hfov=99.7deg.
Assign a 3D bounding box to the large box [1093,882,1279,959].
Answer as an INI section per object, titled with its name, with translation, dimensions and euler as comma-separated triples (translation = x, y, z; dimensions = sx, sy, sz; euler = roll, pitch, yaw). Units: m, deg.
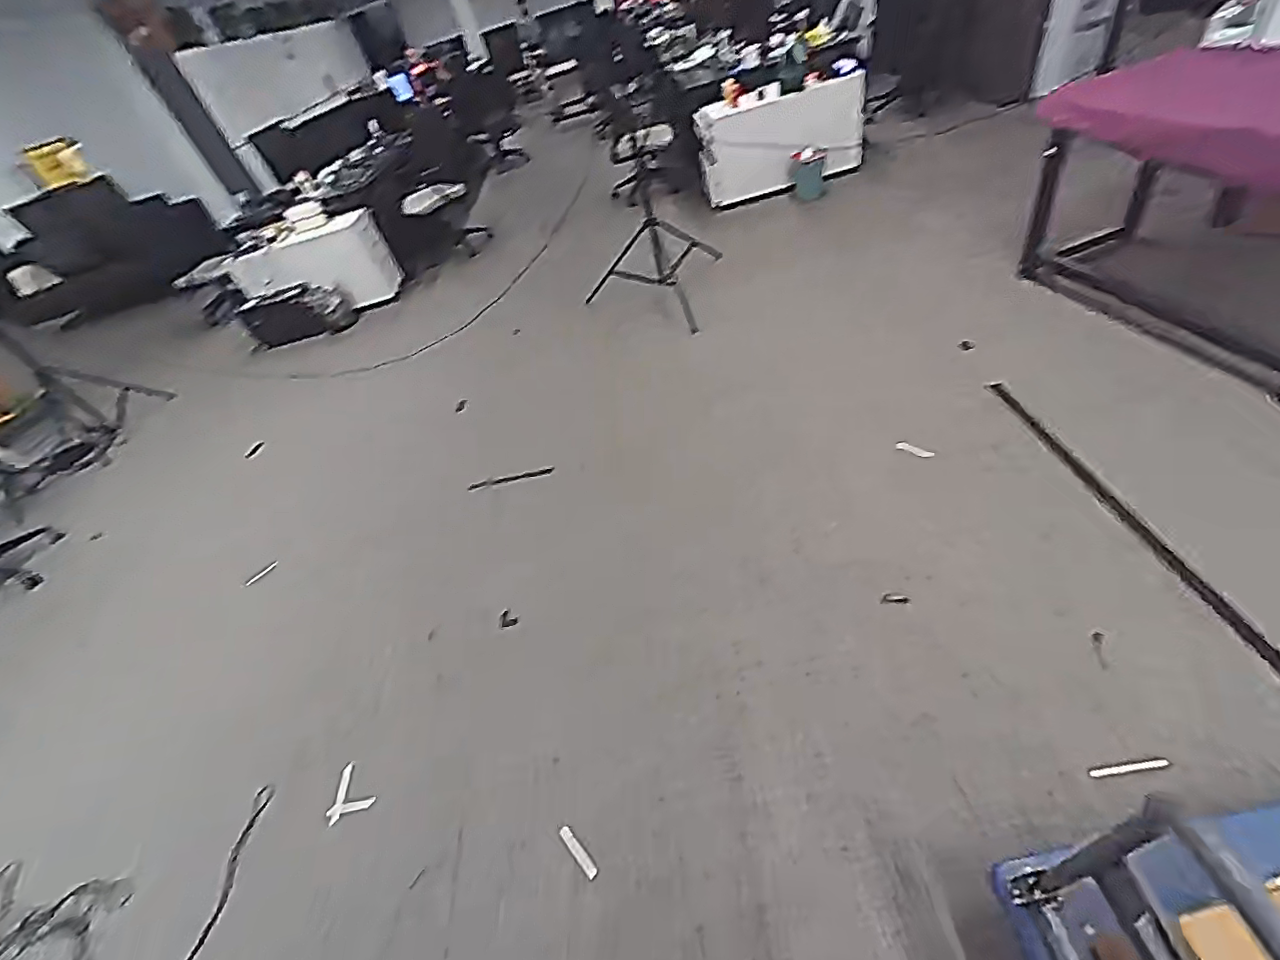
[large box]
translation = 0.898, 0.761, 0.656
dimensions = 0.320, 0.320, 0.408
euler = -18, 45, 2
